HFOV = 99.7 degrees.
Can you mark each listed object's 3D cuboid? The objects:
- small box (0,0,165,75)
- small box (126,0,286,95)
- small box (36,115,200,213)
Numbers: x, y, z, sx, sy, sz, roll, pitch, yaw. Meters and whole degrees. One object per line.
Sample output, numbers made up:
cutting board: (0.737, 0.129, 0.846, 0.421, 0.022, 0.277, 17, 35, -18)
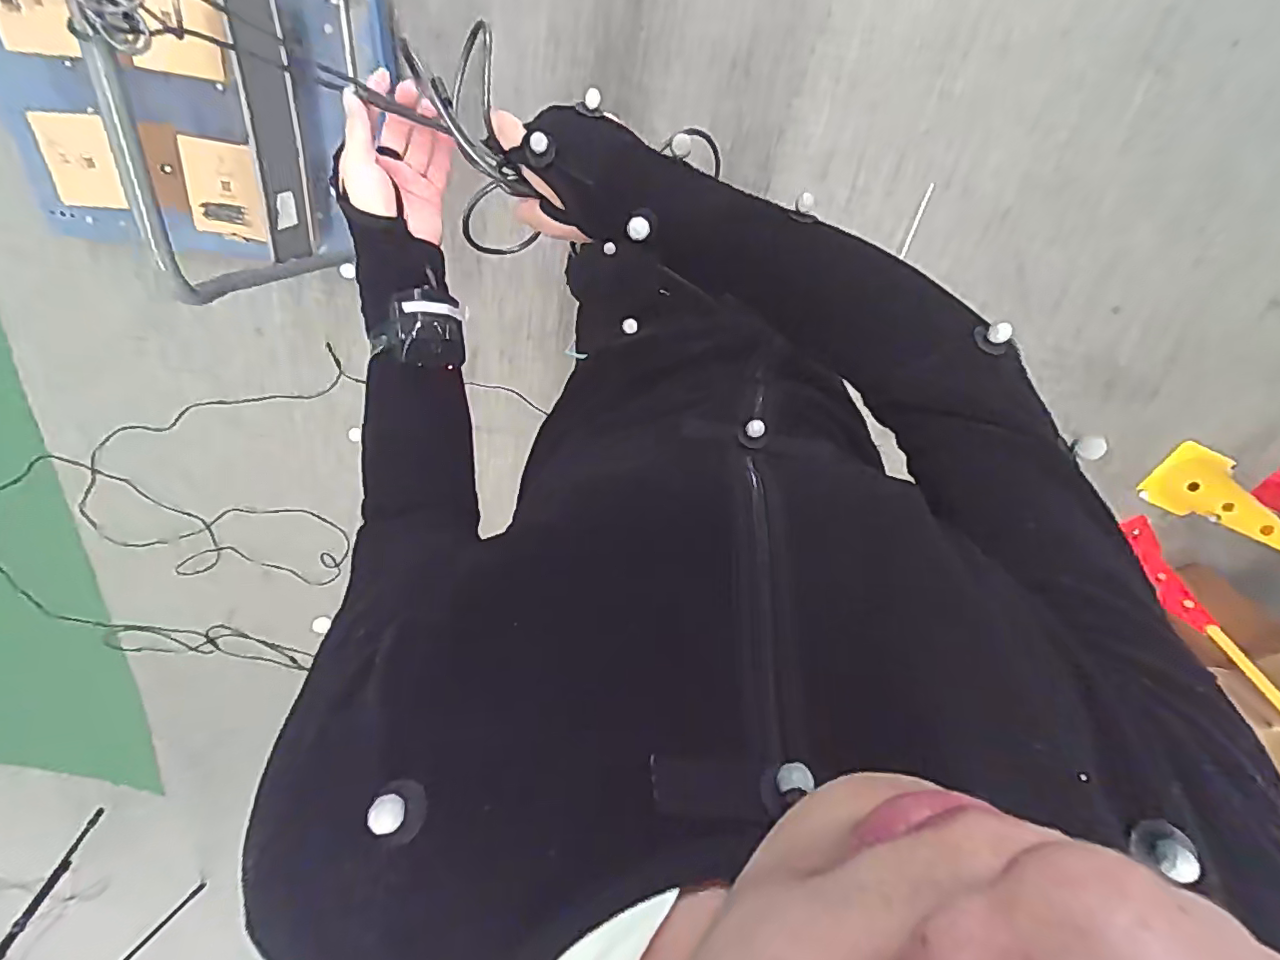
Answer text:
small box: (-1.078, -0.901, 1.045, 0.179, 0.176, 0.168, 5, 120, 1)
small box: (-0.834, -0.866, 1.047, 0.179, 0.176, 0.168, 9, 119, 0)
small box: (-1.104, -0.679, 1.169, 0.179, 0.176, 0.168, 4, 118, 2)
